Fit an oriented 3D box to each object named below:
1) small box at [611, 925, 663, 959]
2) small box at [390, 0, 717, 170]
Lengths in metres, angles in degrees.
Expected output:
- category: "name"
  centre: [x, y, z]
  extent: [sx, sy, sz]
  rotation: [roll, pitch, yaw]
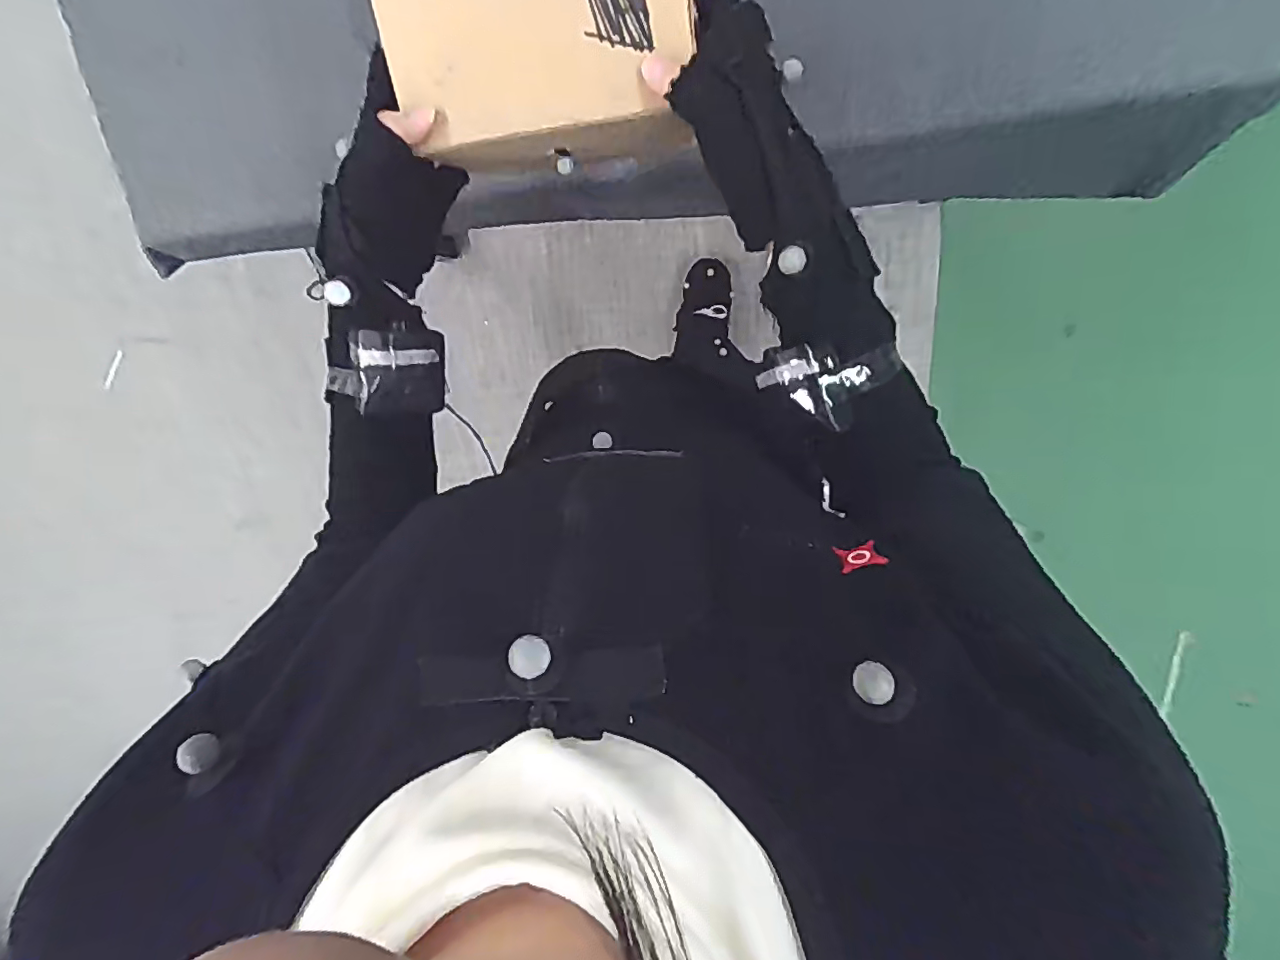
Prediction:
- category: "small box"
  centre: [-0.012, 1.785, 1.988]
  extent: [0.179, 0.176, 0.168]
  rotation: [-2, 109, 7]
- category: "small box"
  centre: [-0.052, -0.321, 0.359]
  extent: [0.179, 0.176, 0.168]
  rotation: [-9, 114, 8]
